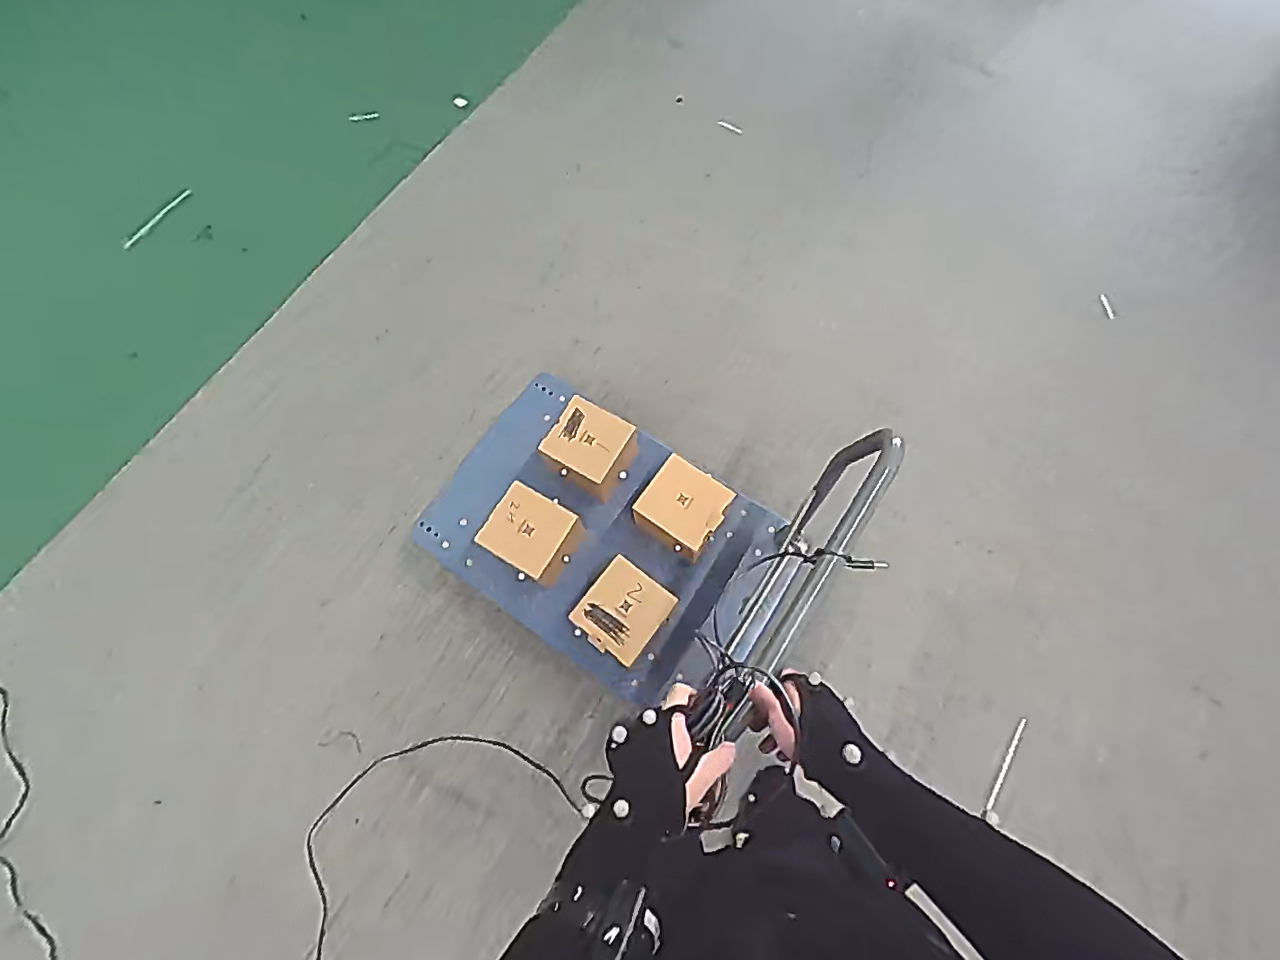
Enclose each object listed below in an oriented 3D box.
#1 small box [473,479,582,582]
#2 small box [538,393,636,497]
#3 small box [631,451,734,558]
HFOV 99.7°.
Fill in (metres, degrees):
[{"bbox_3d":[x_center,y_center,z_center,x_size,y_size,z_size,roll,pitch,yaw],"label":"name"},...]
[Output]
[{"bbox_3d":[-0.254,0.126,1.276,0.179,0.176,0.168,30,74,11],"label":"small box"},{"bbox_3d":[-0.124,-0.079,1.340,0.179,0.176,0.168,30,75,10],"label":"small box"},{"bbox_3d":[0.097,0.066,1.287,0.179,0.176,0.168,35,76,11],"label":"small box"}]
